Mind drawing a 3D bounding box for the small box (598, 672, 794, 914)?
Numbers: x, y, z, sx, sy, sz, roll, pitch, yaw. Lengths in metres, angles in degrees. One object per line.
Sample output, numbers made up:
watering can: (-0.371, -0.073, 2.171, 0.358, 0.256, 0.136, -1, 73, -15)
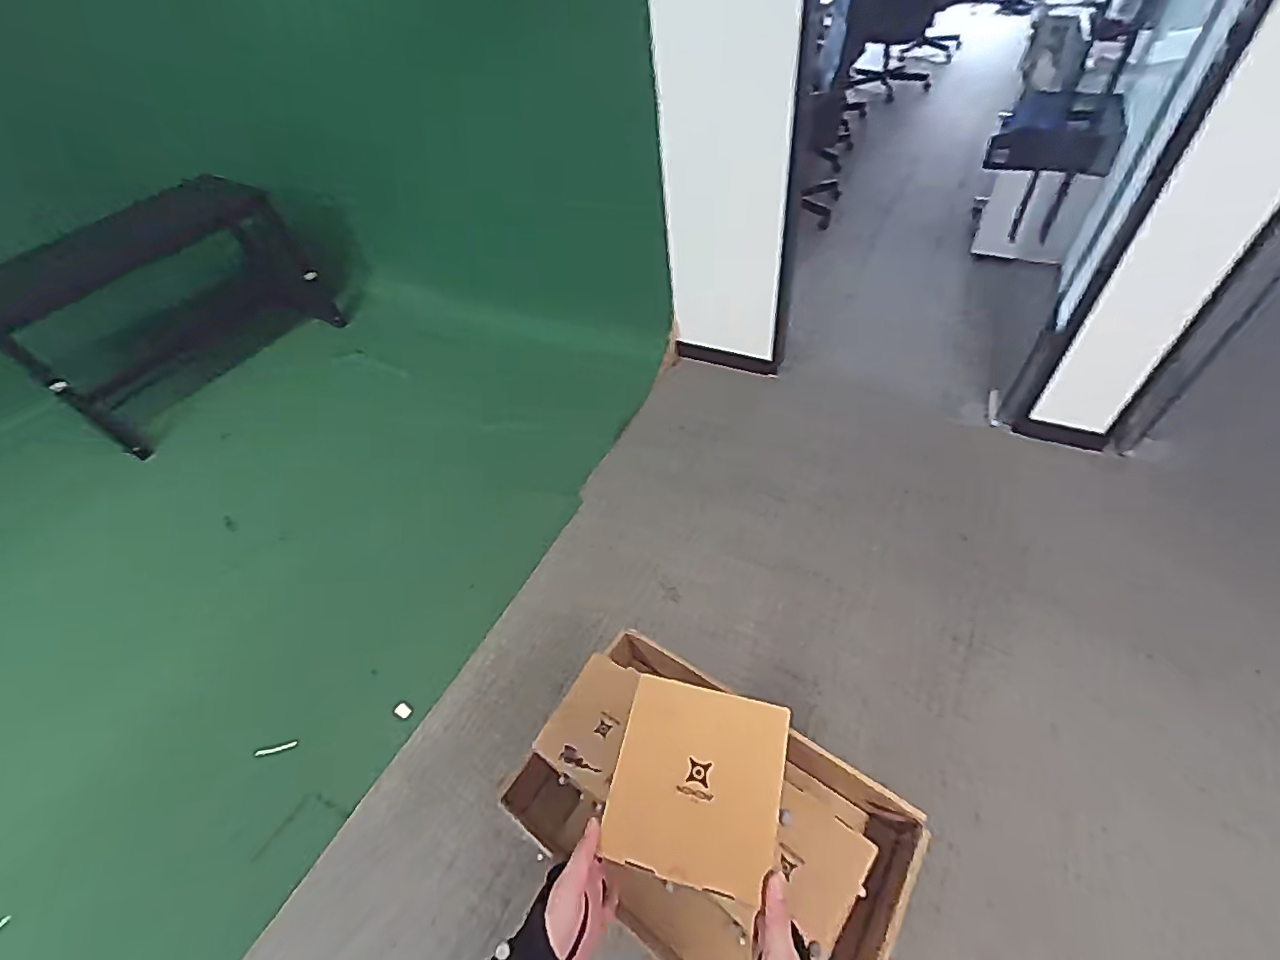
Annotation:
small box: (0.065, 0.338, 0.594, 0.168, 0.176, 0.179, 9, 57, 12)

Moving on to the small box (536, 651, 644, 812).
small box: (-0.035, 0.416, 0.868, 0.168, 0.176, 0.179, 23, 56, 26)

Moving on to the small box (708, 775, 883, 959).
small box: (0.198, 0.534, 0.737, 0.168, 0.176, 0.179, 29, 60, 29)
